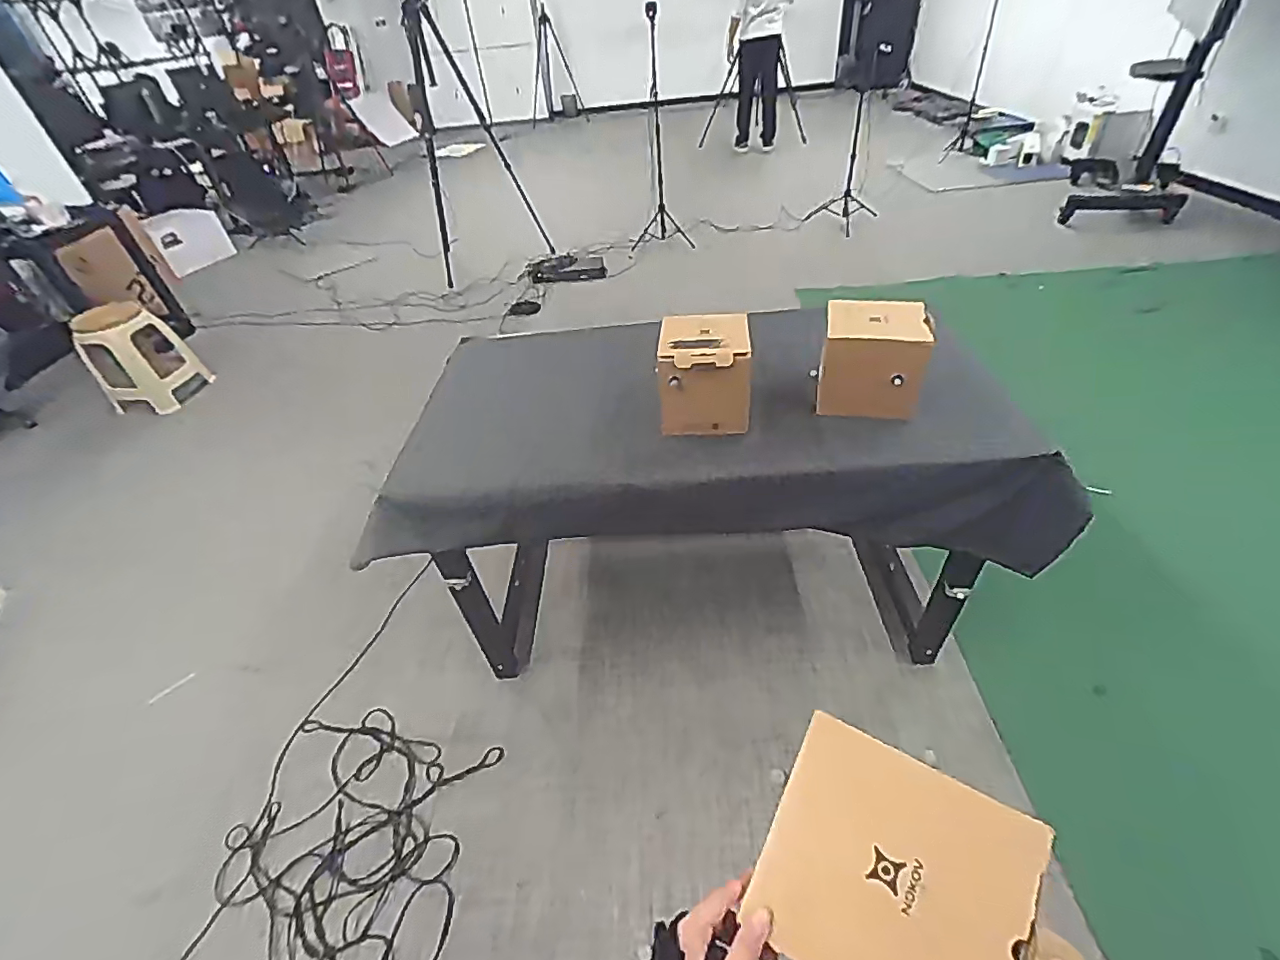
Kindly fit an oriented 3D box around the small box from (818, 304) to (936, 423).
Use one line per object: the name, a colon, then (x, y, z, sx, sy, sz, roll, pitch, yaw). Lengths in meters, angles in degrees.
small box: (0.448, -0.225, 1.047, 0.179, 0.176, 0.168, 5, 42, 15)
